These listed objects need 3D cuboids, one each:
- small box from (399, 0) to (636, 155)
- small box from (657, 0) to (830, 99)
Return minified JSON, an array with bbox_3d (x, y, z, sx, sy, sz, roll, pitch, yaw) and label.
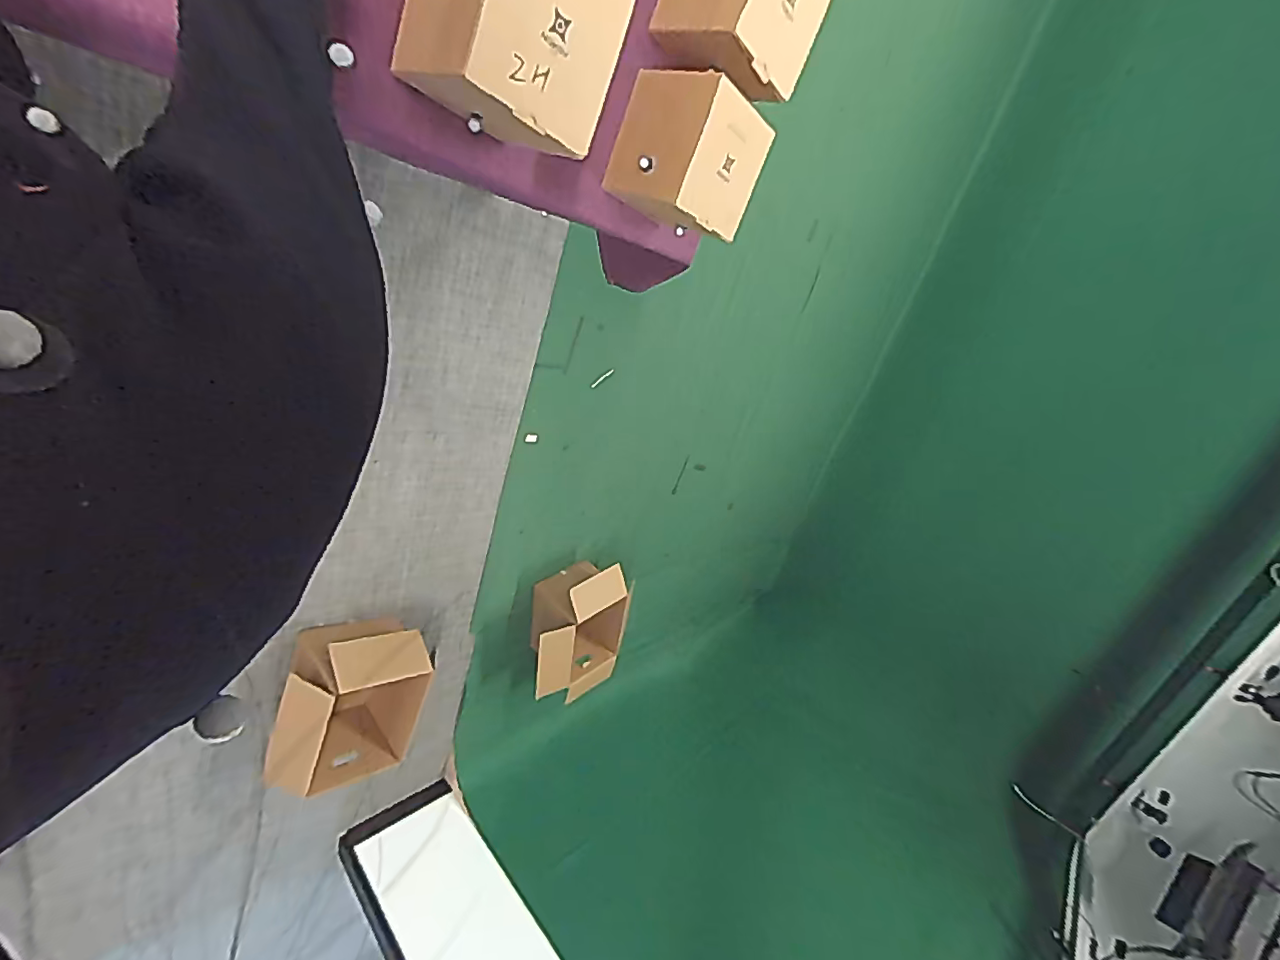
[{"bbox_3d":[-0.139,-0.498,0.596,0.168,0.176,0.179,2,116,-51],"label":"small box"},{"bbox_3d":[0.150,-0.699,0.786,0.168,0.176,0.179,4,116,-52],"label":"small box"}]
